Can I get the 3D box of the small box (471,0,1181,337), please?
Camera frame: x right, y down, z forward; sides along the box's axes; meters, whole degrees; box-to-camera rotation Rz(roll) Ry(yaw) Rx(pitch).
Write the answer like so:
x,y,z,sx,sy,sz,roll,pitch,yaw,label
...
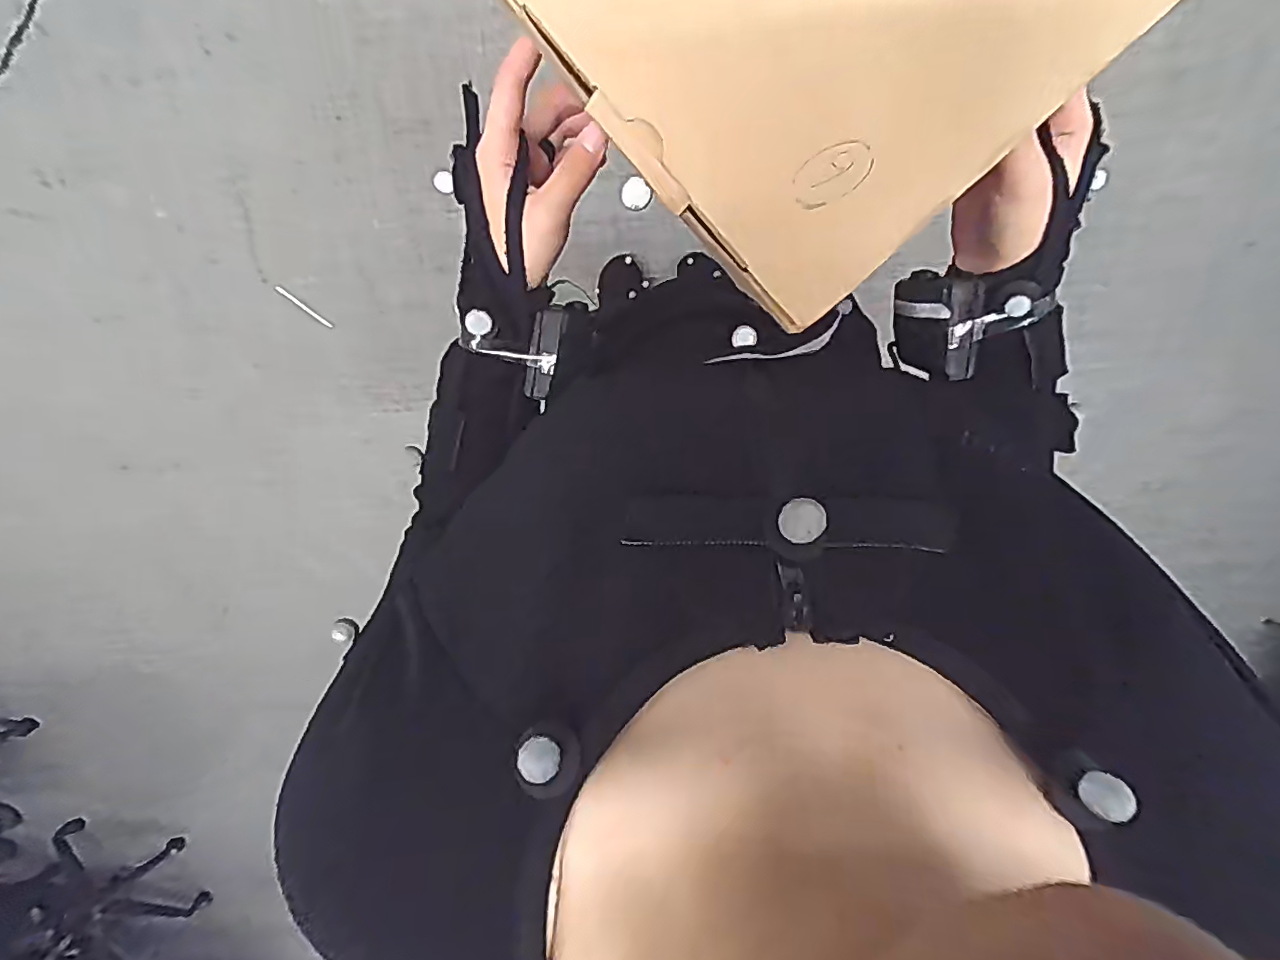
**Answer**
x,y,z,sx,sy,sz,roll,pitch,yaw,label
0.063,-0.189,0.224,0.179,0.176,0.168,-41,105,20,small box
